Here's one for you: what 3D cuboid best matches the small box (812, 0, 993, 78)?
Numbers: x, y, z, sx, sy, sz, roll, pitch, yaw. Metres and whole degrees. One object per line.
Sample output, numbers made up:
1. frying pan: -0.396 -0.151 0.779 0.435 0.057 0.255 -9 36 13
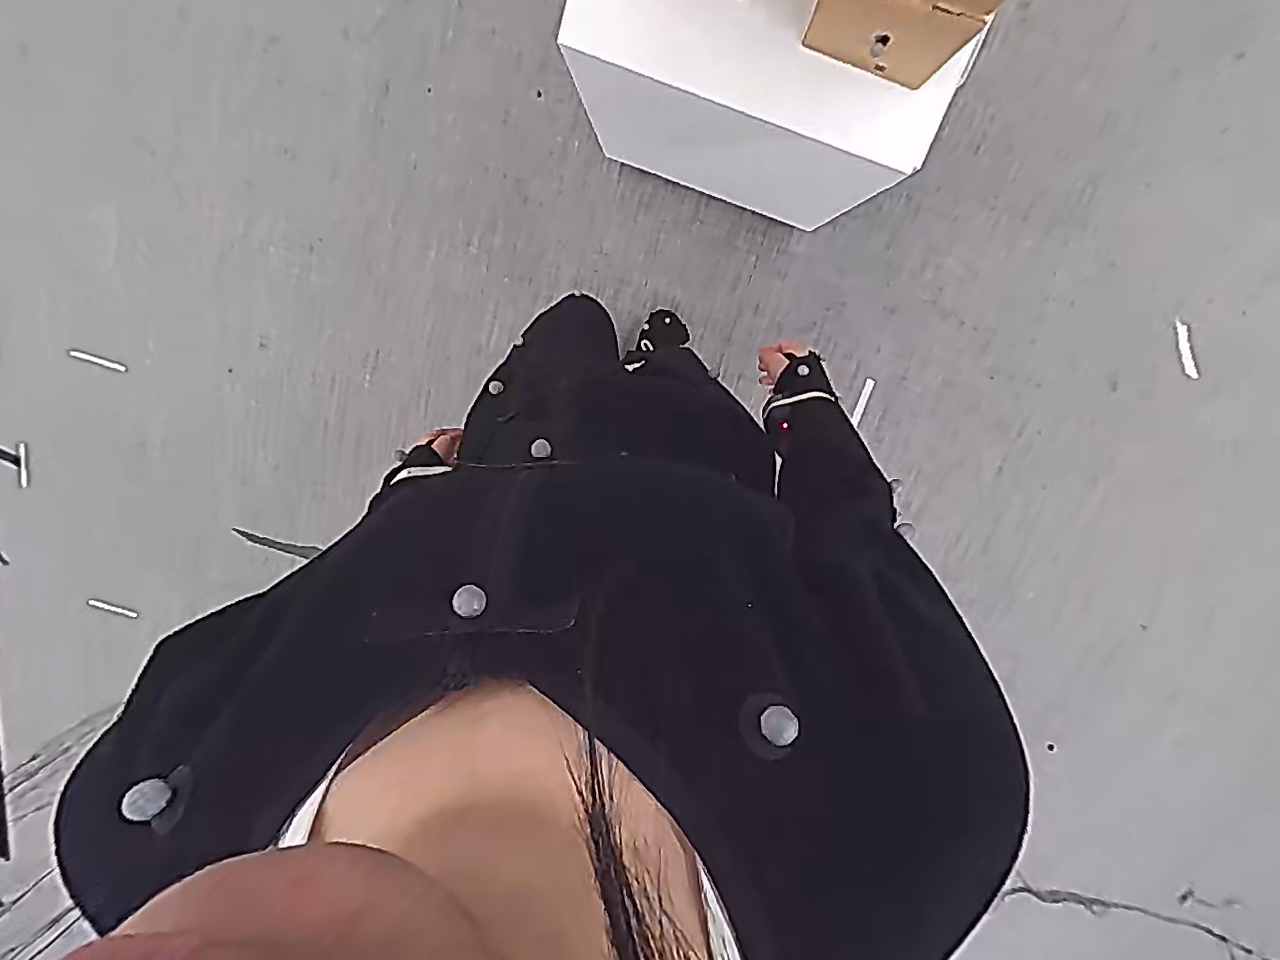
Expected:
1. small box: 0.308 -0.590 0.595 0.168 0.176 0.179 19 109 -3
